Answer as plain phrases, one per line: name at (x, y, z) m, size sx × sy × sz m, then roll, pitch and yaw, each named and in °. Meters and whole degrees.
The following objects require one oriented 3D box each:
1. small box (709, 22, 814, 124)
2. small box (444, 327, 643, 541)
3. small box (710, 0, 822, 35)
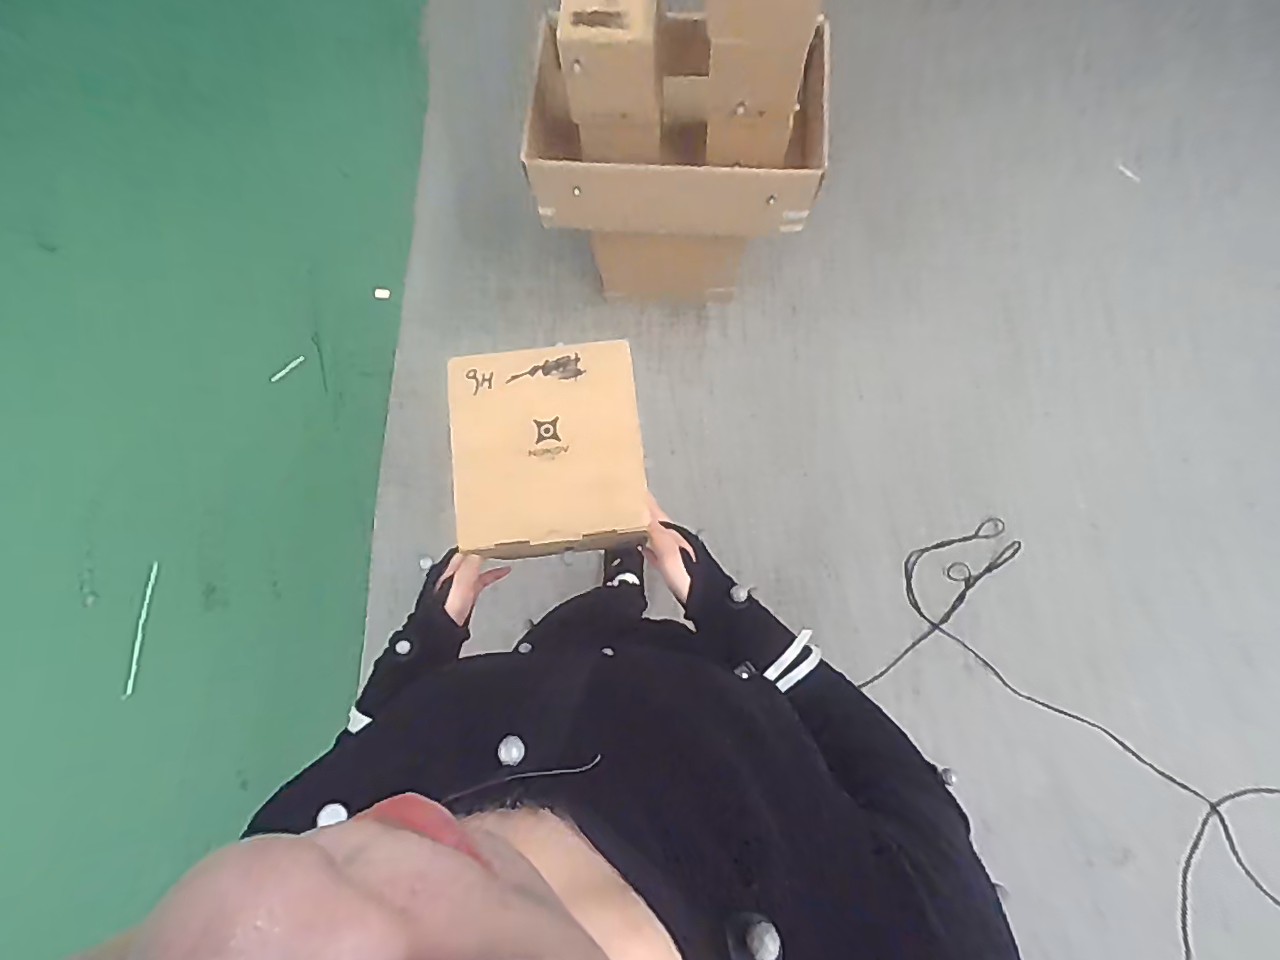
small box at (0.218, -0.795, 0.983) m, size 0.168 × 0.176 × 0.179 m, roll 7°, pitch 80°, yaw 6°
small box at (-0.085, -0.032, 0.549) m, size 0.168 × 0.176 × 0.179 m, roll -6°, pitch 80°, yaw -1°
small box at (0.206, -0.823, 0.821) m, size 0.179 × 0.176 × 0.168 m, roll 8°, pitch 79°, yaw 7°
